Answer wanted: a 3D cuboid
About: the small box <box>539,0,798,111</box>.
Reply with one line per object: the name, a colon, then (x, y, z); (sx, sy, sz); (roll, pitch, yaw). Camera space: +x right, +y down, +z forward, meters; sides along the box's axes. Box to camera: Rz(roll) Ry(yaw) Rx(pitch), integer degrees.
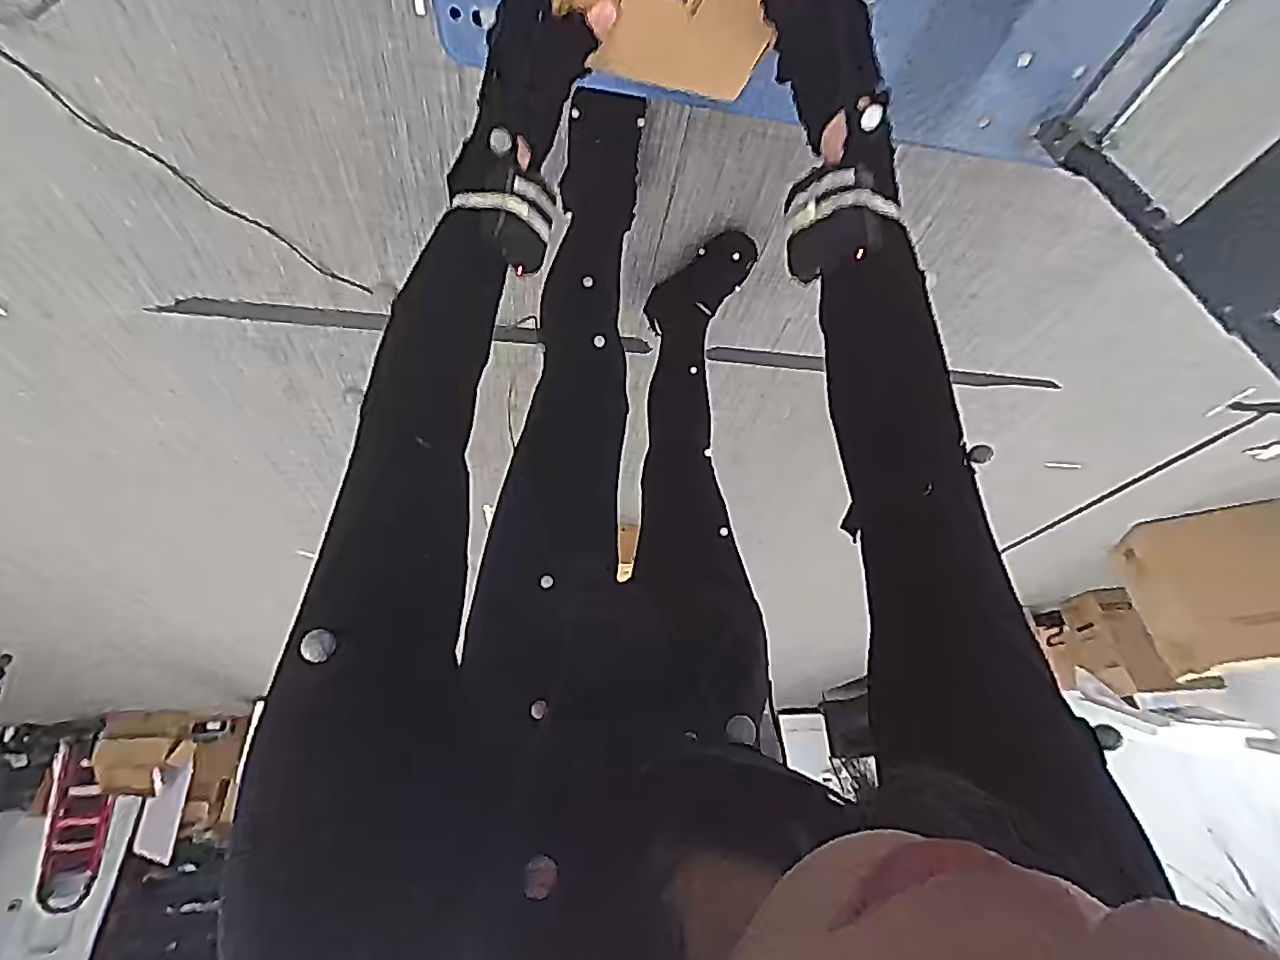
small box: (0.023, -0.429, 0.402); (0.179, 0.176, 0.168); (1, 171, -19)
